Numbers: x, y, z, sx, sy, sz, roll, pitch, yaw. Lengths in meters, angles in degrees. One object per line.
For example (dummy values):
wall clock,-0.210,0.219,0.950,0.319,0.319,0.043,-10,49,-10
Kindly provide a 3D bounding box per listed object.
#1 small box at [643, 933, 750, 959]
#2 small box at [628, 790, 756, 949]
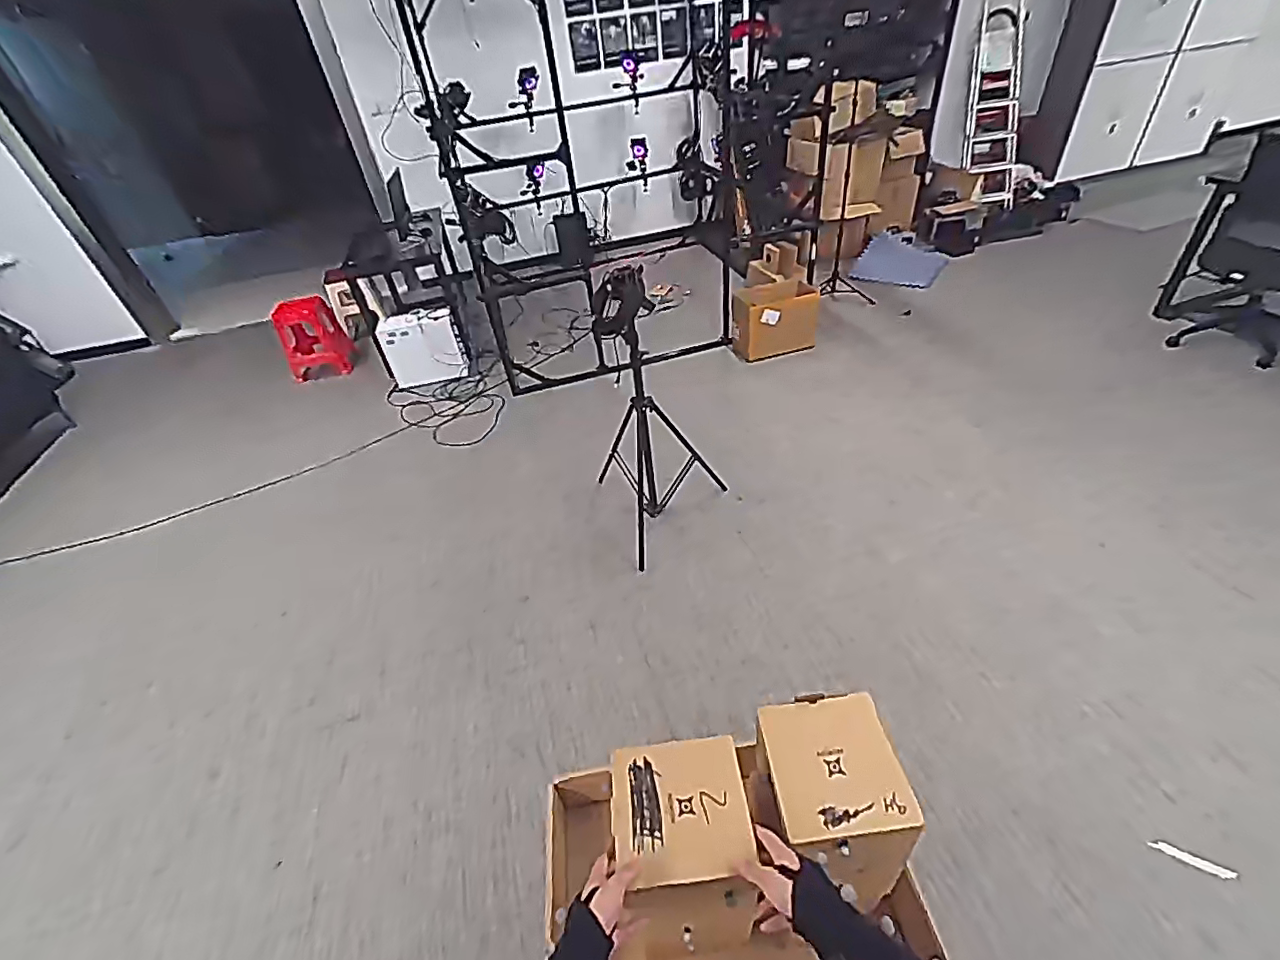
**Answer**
small box,0.086,0.720,0.952,0.179,0.176,0.168,-7,39,-1
small box,0.076,0.602,0.837,0.179,0.176,0.168,-4,39,3
